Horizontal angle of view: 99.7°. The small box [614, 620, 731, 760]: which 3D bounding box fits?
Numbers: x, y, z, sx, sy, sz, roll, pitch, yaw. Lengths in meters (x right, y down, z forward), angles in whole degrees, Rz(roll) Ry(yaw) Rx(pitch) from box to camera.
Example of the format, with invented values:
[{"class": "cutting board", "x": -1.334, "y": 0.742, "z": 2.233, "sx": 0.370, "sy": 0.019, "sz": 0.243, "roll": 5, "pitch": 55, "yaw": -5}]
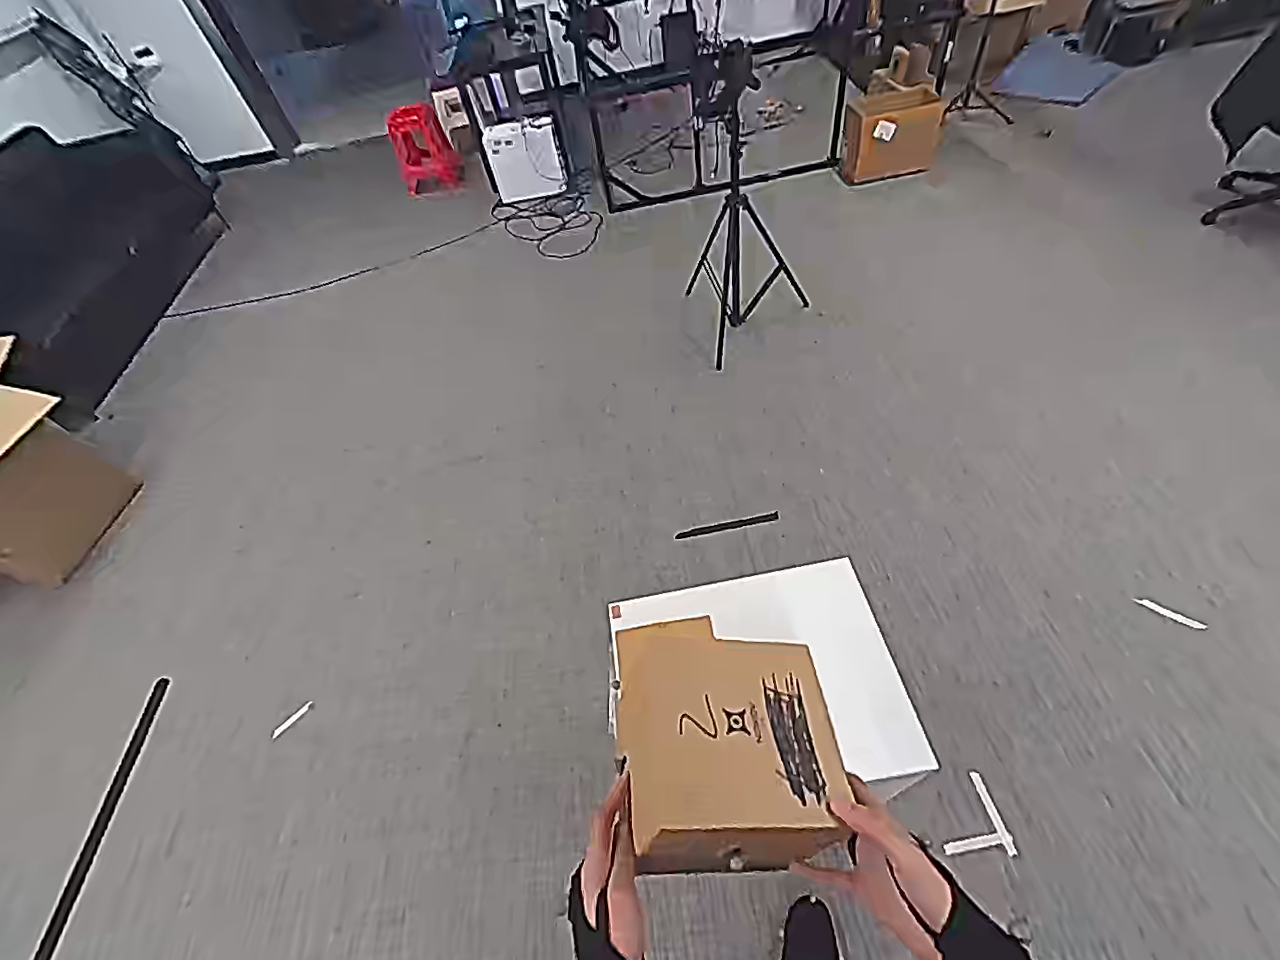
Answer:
[{"class": "small box", "x": 0.058, "y": 0.364, "z": 0.922, "sx": 0.168, "sy": 0.176, "sz": 0.179, "roll": -11, "pitch": 51, "yaw": 2}]
